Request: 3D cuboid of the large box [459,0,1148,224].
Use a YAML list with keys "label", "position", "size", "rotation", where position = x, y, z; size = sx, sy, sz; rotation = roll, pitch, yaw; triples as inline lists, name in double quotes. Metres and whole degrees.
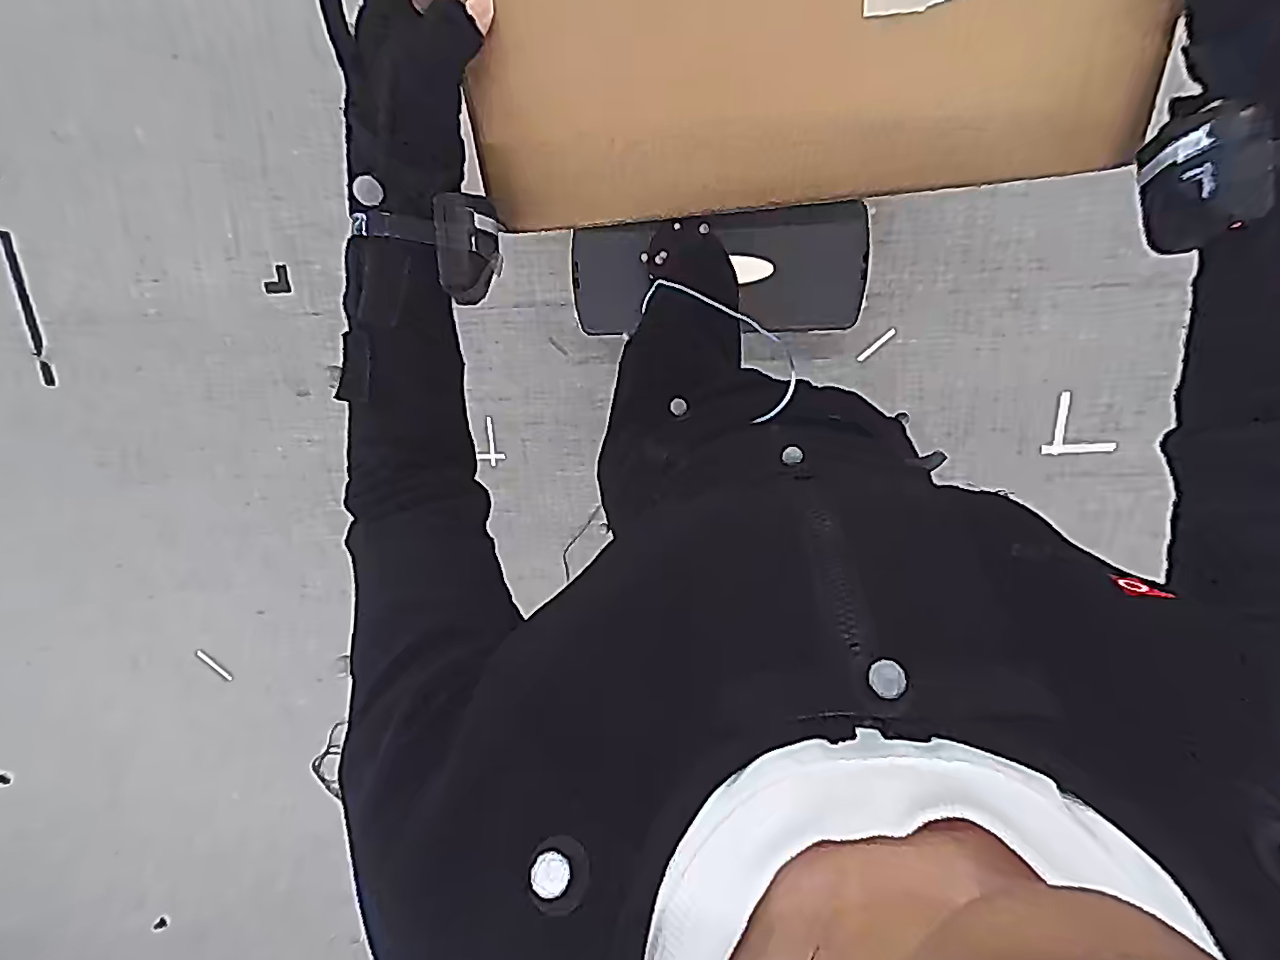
- label: "large box"
  position: [0.095, -0.400, 0.427]
  size: [0.408, 0.320, 0.320]
  rotation: [-2, 118, 9]
